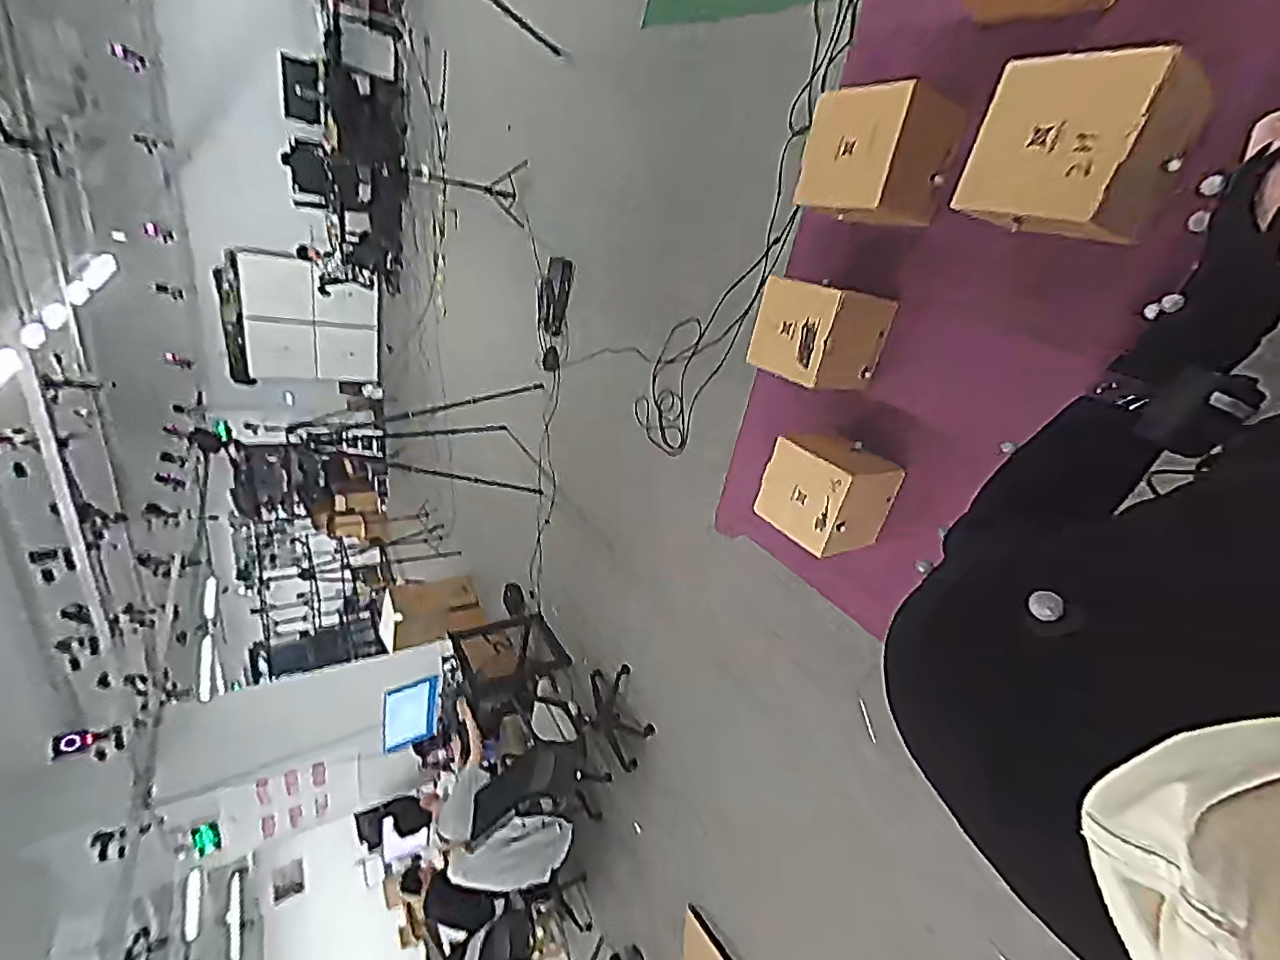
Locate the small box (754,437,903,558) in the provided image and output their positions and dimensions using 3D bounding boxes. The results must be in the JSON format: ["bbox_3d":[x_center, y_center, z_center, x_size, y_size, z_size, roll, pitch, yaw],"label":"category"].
[{"bbox_3d":[0.354,0.025,1.028,0.179,0.176,0.168,41,127,46],"label":"small box"}]

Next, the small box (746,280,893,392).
[{"bbox_3d":[0.337,-0.271,1.019,0.179,0.176,0.168,39,125,47],"label":"small box"}]

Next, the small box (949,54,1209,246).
[{"bbox_3d":[0.549,-0.406,0.688,0.179,0.176,0.168,43,128,46],"label":"small box"}]

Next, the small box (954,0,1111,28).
[{"bbox_3d":[0.520,-0.718,0.695,0.179,0.176,0.168,42,127,44],"label":"small box"}]

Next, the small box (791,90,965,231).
[{"bbox_3d":[0.394,-0.524,0.905,0.179,0.176,0.168,38,125,46],"label":"small box"}]
